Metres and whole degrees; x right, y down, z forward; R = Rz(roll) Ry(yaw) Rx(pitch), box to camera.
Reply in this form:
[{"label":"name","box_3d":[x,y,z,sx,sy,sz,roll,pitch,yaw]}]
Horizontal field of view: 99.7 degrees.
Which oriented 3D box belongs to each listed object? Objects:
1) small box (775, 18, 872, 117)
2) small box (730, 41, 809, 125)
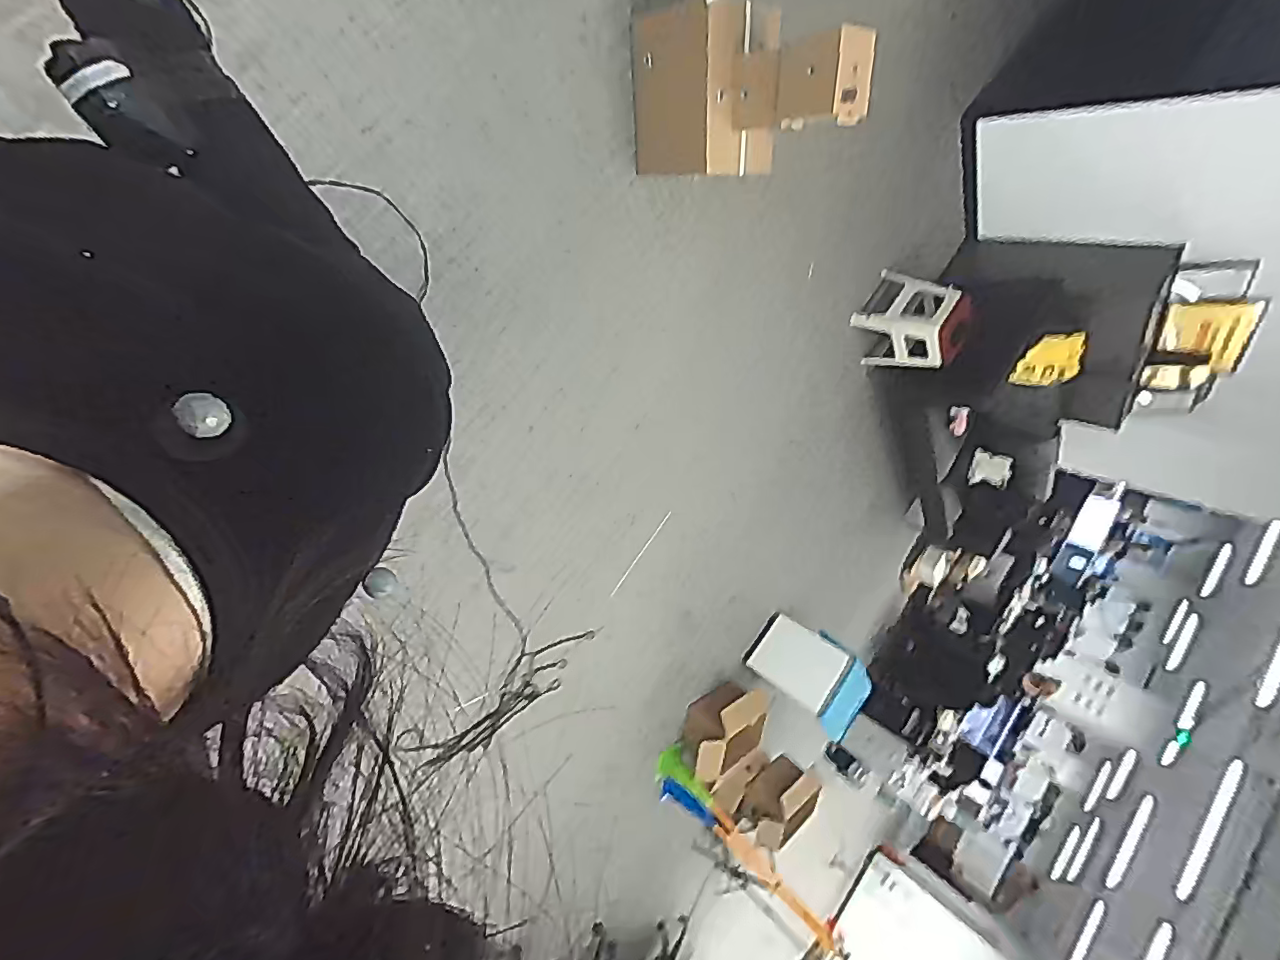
[{"label":"small box","box_3d":[0.462,-1.042,1.382,0.168,0.176,0.179,-26,126,-35]},{"label":"small box","box_3d":[0.363,-1.097,1.502,0.168,0.176,0.179,-31,131,-33]}]
